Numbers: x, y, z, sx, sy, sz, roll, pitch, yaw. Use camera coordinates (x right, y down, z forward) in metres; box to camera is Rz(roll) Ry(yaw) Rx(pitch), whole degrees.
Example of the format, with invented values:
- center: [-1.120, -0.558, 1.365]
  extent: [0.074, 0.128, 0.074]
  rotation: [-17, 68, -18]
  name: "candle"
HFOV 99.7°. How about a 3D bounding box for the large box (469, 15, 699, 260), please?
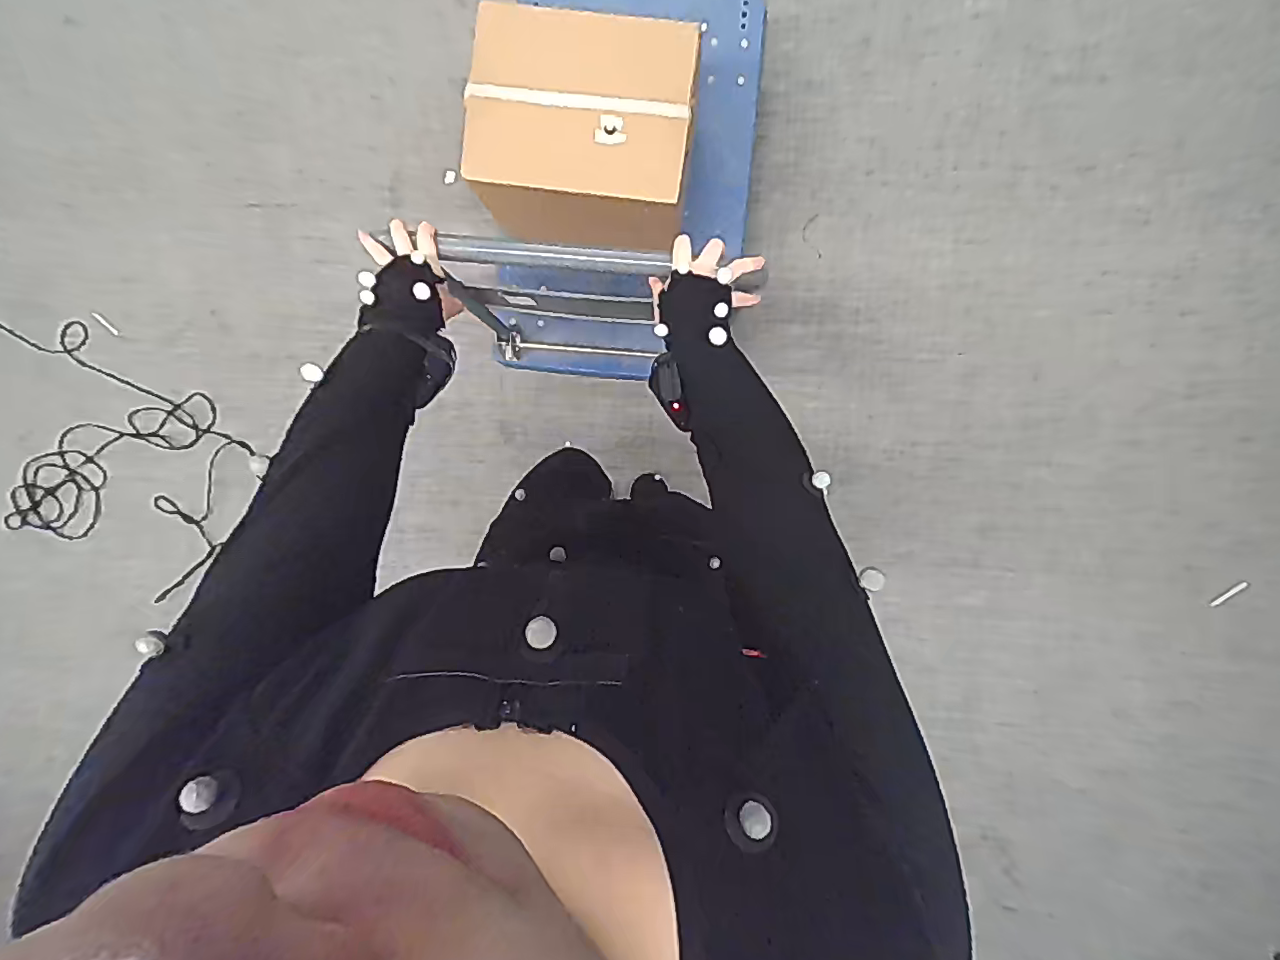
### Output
- center: [-0.104, -0.689, 1.143]
  extent: [0.408, 0.320, 0.320]
  rotation: [8, 94, 1]
  name: "large box"
